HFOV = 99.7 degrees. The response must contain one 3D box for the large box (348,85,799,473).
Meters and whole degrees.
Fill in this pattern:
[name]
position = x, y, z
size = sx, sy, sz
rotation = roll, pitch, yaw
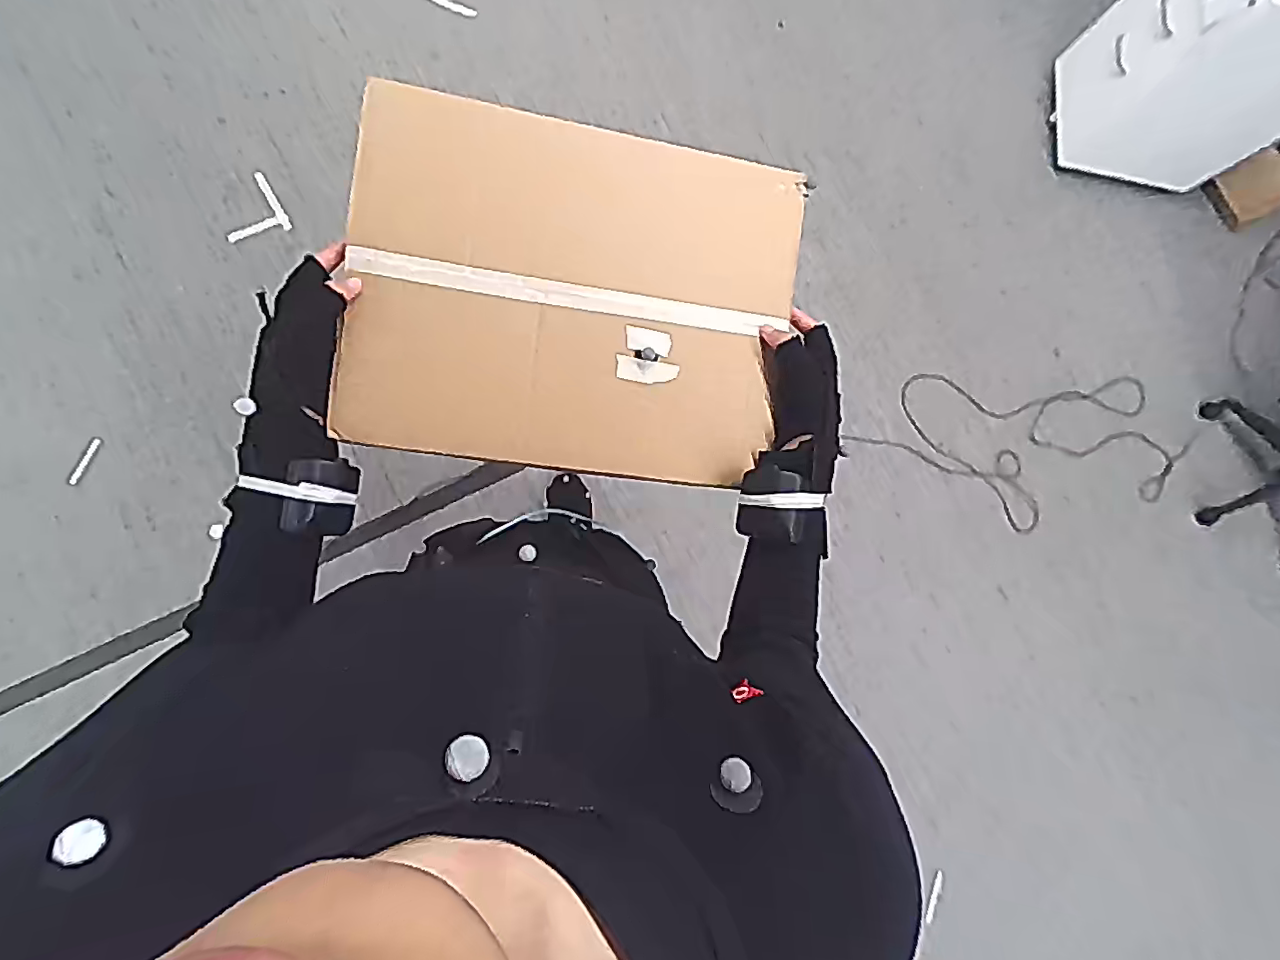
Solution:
[large box]
position = -0.076, -0.181, 0.654
size = 0.408, 0.320, 0.320
rotation = 7, 91, -10
